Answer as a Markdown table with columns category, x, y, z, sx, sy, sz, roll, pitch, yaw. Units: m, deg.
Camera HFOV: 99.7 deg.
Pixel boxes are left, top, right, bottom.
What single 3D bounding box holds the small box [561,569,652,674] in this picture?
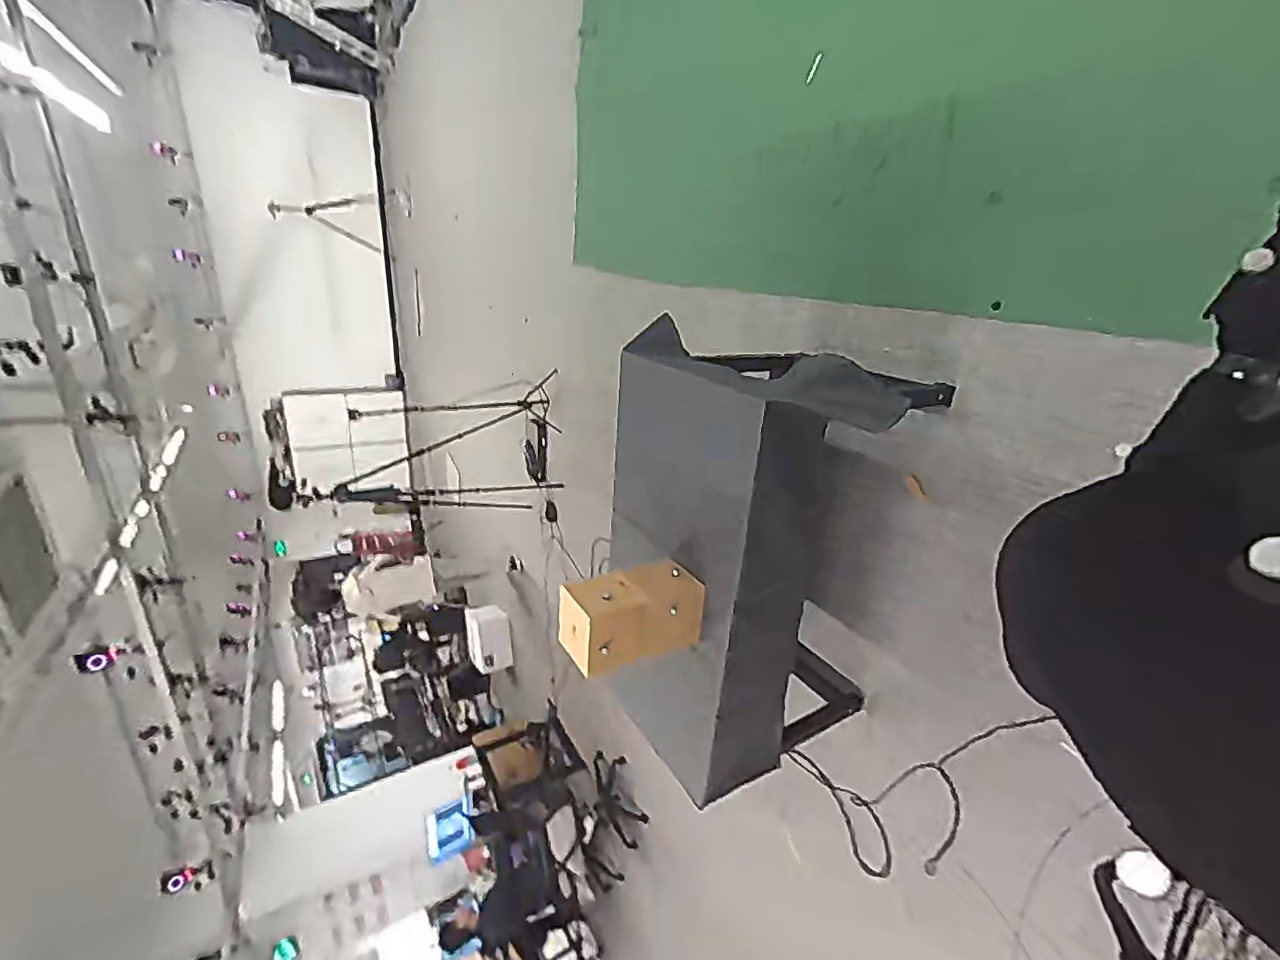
| category | x | y | z | sx | sy | sz | roll | pitch | yaw |
| --- | --- | --- | --- | --- | --- | --- | --- | --- | --- |
| small box | -0.085 | 0.342 | 1.346 | 0.168 | 0.176 | 0.179 | 33 | 125 | 52 |
